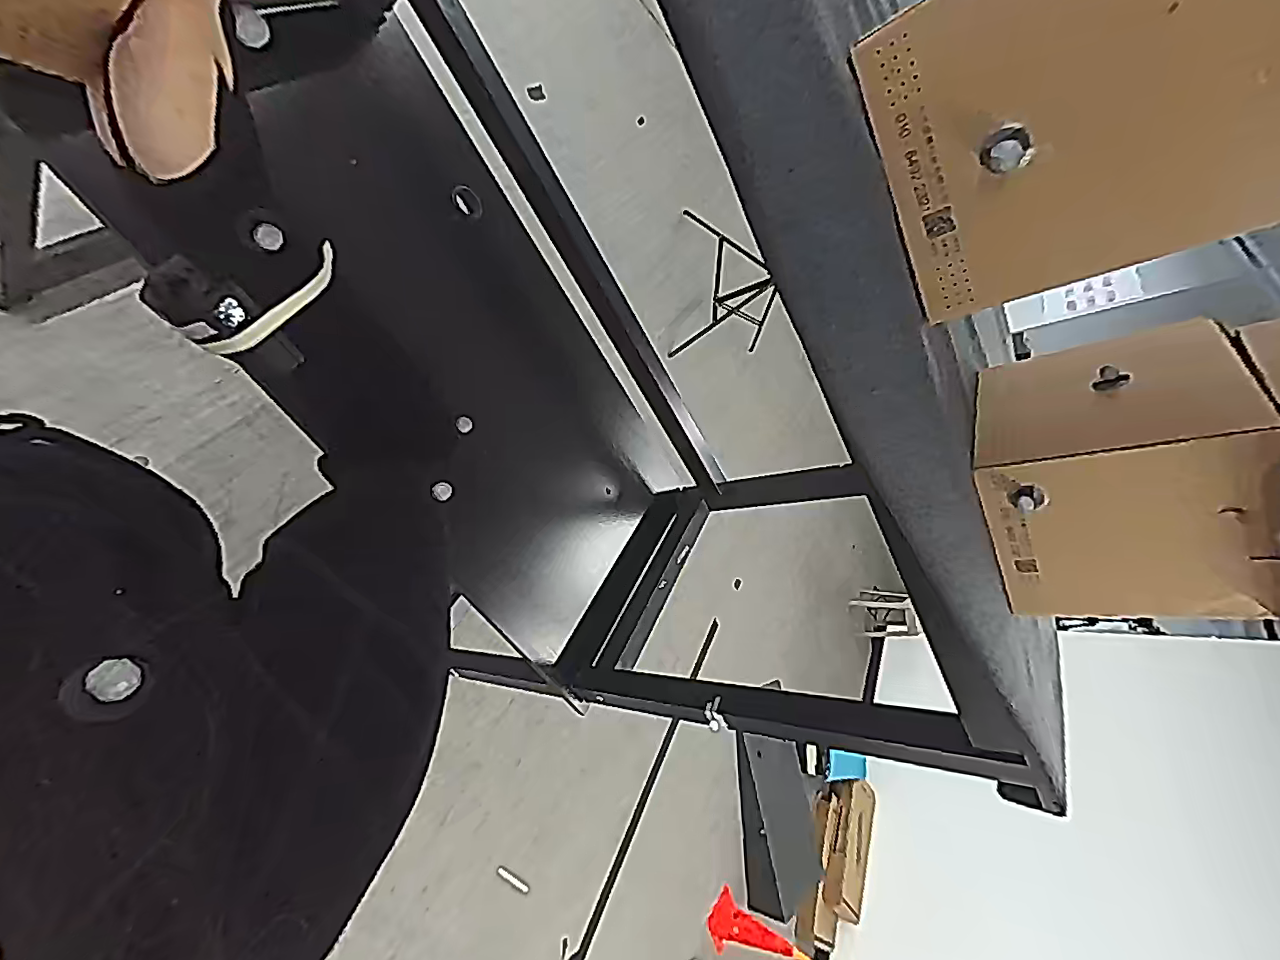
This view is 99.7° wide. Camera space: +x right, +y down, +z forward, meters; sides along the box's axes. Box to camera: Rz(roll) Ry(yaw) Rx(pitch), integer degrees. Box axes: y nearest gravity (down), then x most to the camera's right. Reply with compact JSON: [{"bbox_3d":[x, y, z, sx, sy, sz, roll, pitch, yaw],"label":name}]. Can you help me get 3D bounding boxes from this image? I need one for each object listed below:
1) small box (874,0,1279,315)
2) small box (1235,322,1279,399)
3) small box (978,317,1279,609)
[{"bbox_3d":[0.253,-0.229,0.325,0.168,0.176,0.179,57,43,-25],"label":"small box"},{"bbox_3d":[0.513,-0.009,0.339,0.168,0.176,0.179,56,44,-29],"label":"small box"},{"bbox_3d":[0.402,-0.007,0.461,0.168,0.176,0.179,60,42,-23],"label":"small box"}]
